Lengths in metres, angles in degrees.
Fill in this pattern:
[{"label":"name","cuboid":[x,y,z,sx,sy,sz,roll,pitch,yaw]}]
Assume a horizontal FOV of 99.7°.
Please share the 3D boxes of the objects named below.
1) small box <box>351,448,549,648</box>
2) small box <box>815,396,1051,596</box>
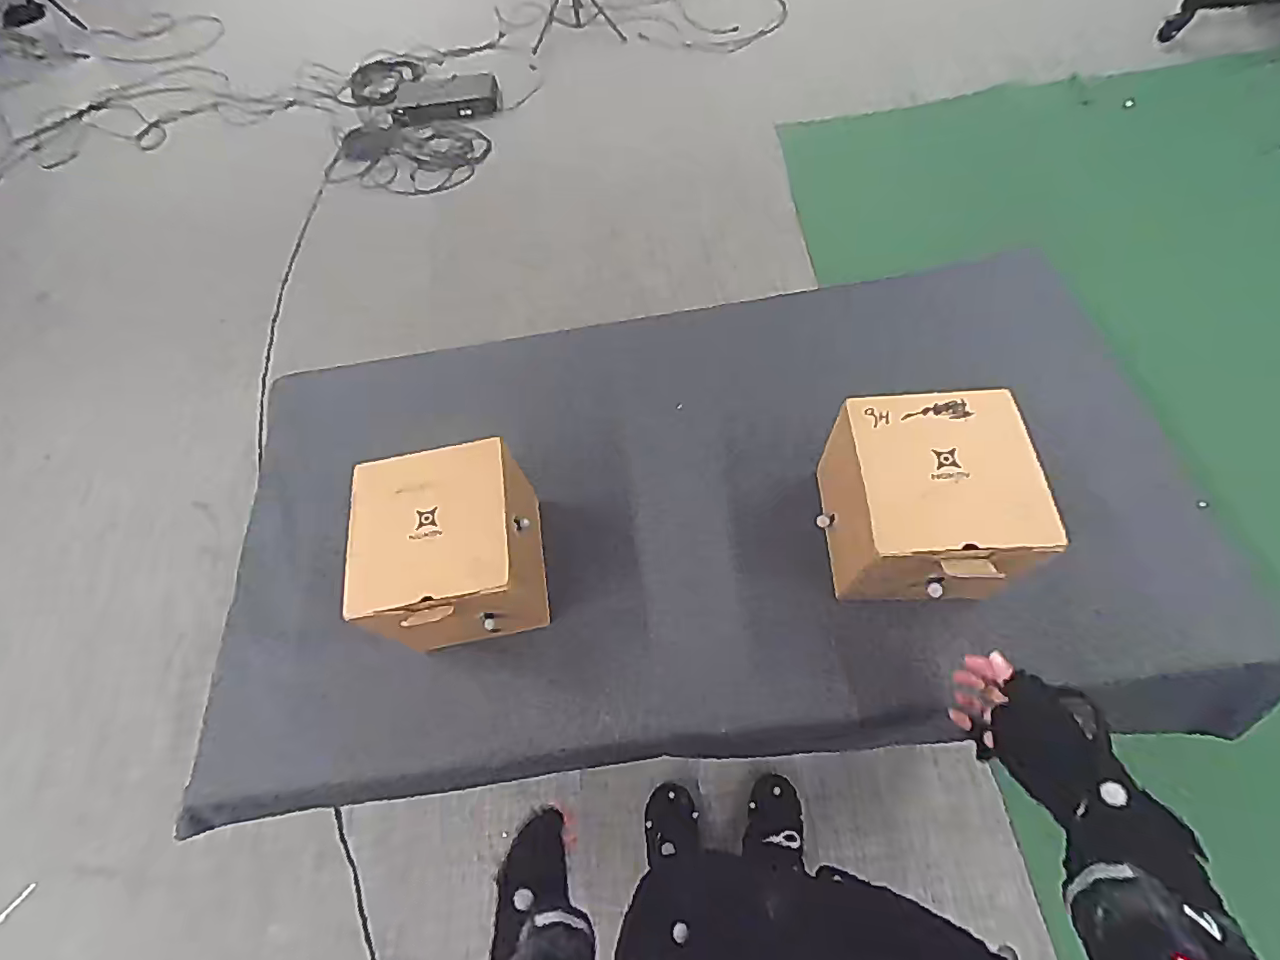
[{"label":"small box","cuboid":[-0.211,0.091,0.638,0.168,0.176,0.179,-12,61,-1]},{"label":"small box","cuboid":[0.301,0.029,0.602,0.168,0.176,0.179,-3,64,6]}]
